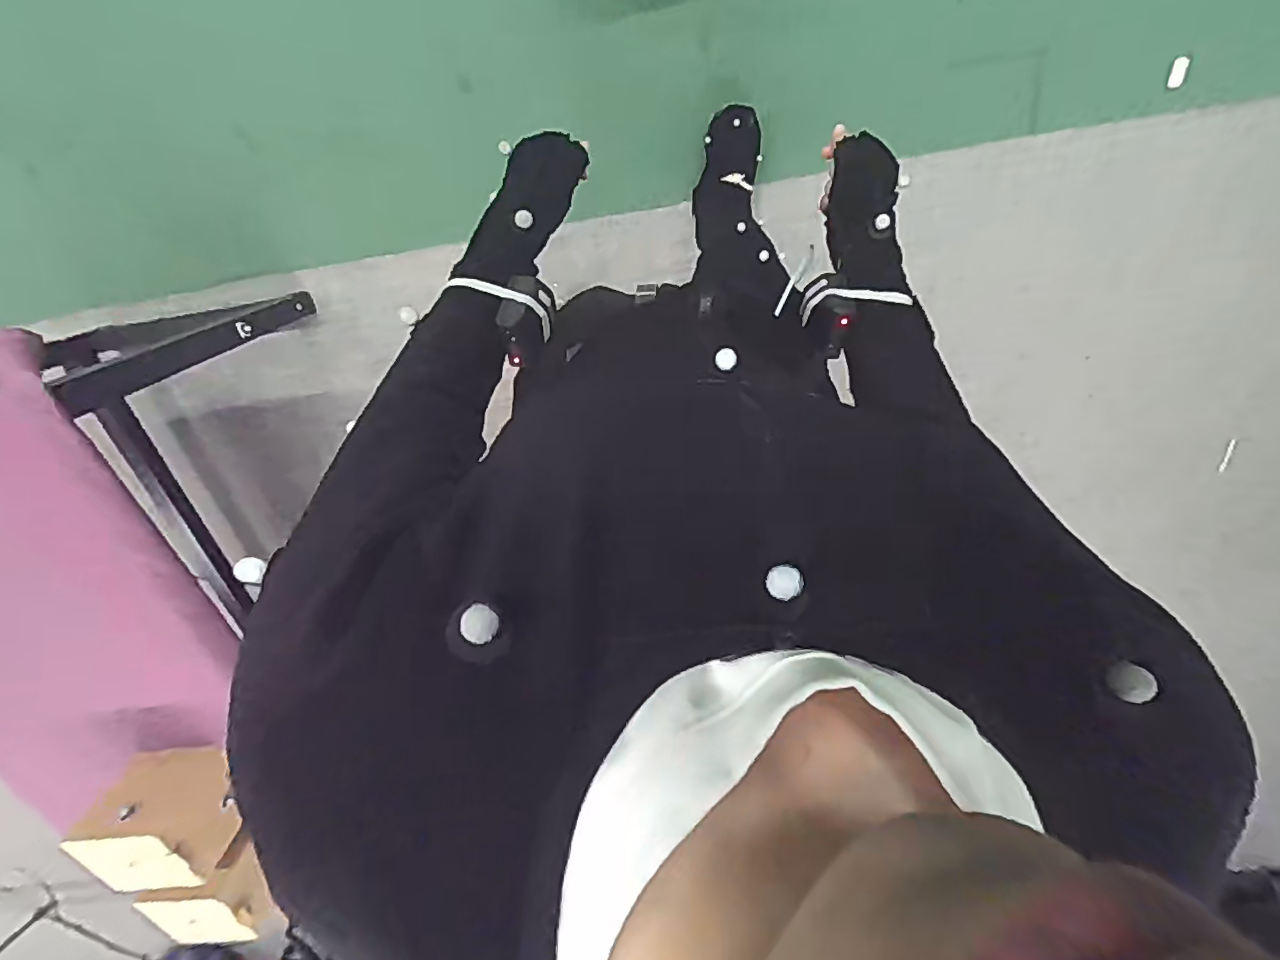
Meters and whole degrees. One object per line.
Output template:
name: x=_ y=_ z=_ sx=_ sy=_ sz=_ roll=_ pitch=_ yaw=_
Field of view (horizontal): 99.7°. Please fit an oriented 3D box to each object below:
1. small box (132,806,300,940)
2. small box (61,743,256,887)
small box: x=-0.850 y=0.799 z=1.106 sx=0.179 sy=0.176 sz=0.168 roll=-7 pitch=119 yaw=5
small box: x=-0.879 y=0.619 z=1.009 sx=0.179 sy=0.176 sz=0.168 roll=-7 pitch=119 yaw=4
